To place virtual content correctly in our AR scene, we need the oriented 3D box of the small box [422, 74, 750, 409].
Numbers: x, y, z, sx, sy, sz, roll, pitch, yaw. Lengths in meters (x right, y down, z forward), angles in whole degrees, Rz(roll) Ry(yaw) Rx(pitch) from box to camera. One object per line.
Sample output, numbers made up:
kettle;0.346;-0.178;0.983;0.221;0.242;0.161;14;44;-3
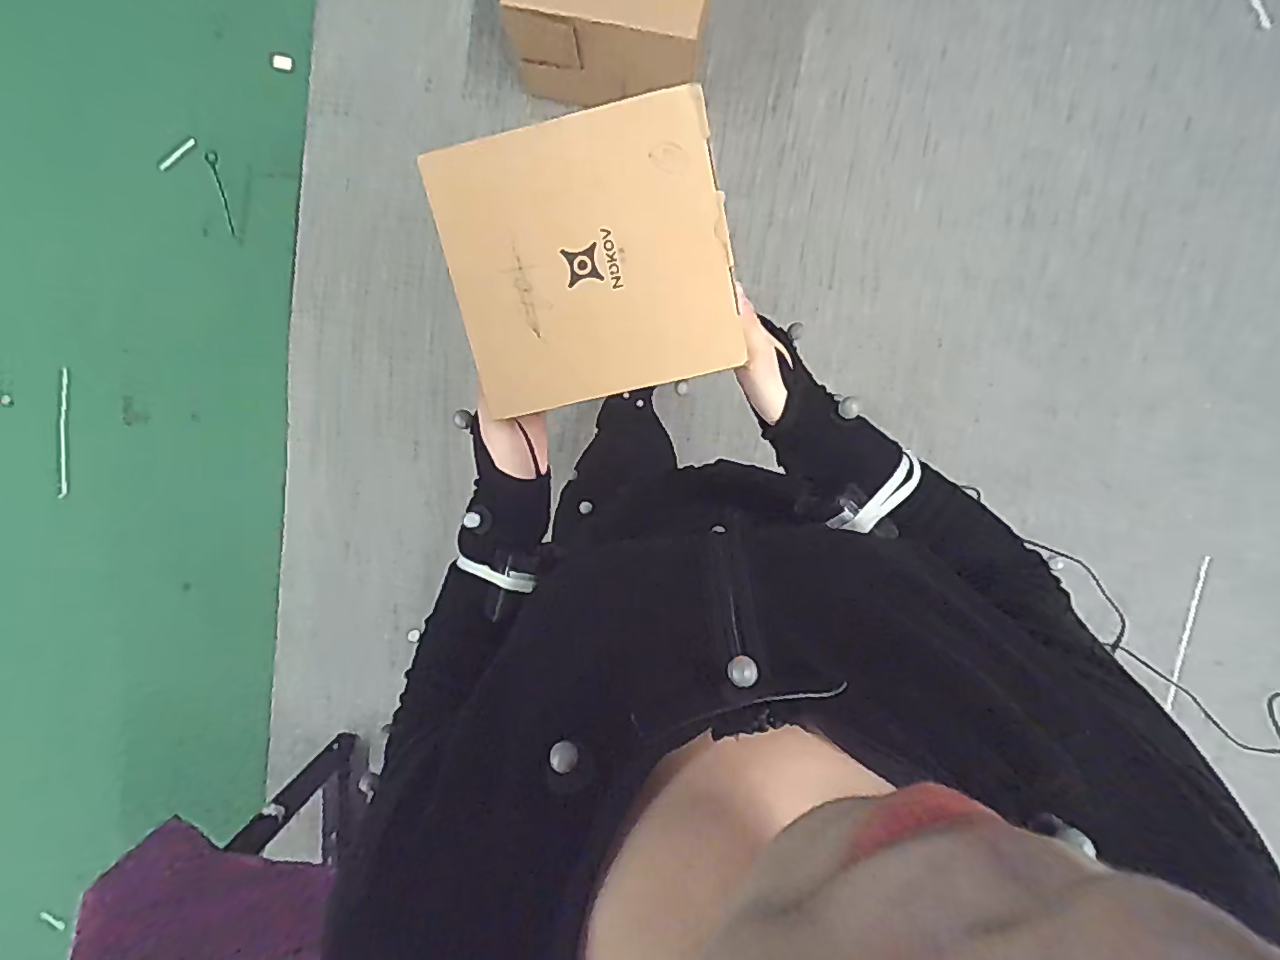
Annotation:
small box;-0.029;-0.159;0.412;0.179;0.176;0.168;-12;102;5
